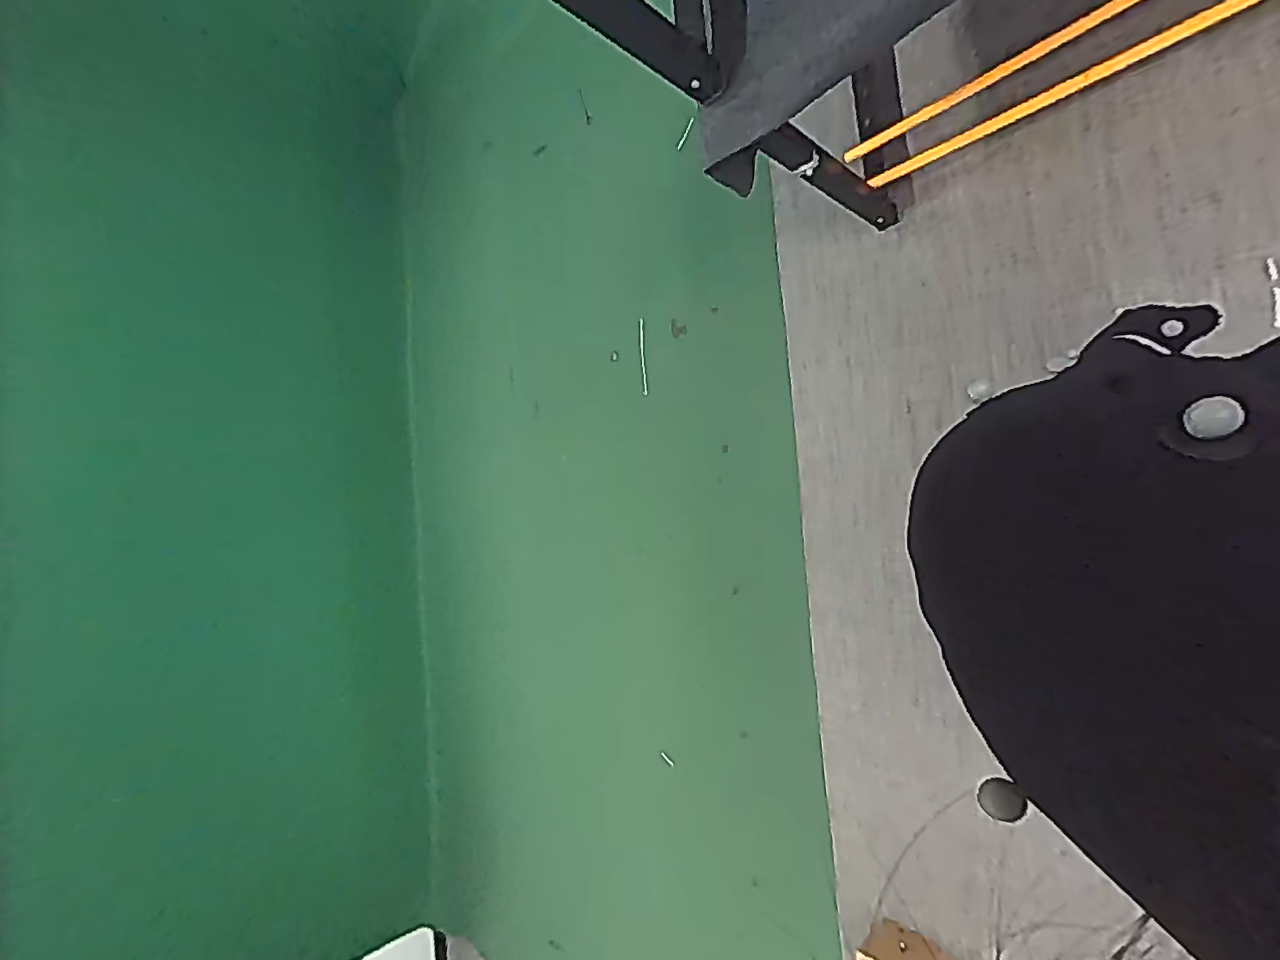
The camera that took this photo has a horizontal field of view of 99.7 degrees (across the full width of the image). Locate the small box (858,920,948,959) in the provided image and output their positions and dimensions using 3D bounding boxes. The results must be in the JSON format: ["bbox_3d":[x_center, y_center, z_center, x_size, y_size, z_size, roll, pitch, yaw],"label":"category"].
[{"bbox_3d":[0.687,1.301,1.398,0.168,0.176,0.179,-7,85,48],"label":"small box"}]
